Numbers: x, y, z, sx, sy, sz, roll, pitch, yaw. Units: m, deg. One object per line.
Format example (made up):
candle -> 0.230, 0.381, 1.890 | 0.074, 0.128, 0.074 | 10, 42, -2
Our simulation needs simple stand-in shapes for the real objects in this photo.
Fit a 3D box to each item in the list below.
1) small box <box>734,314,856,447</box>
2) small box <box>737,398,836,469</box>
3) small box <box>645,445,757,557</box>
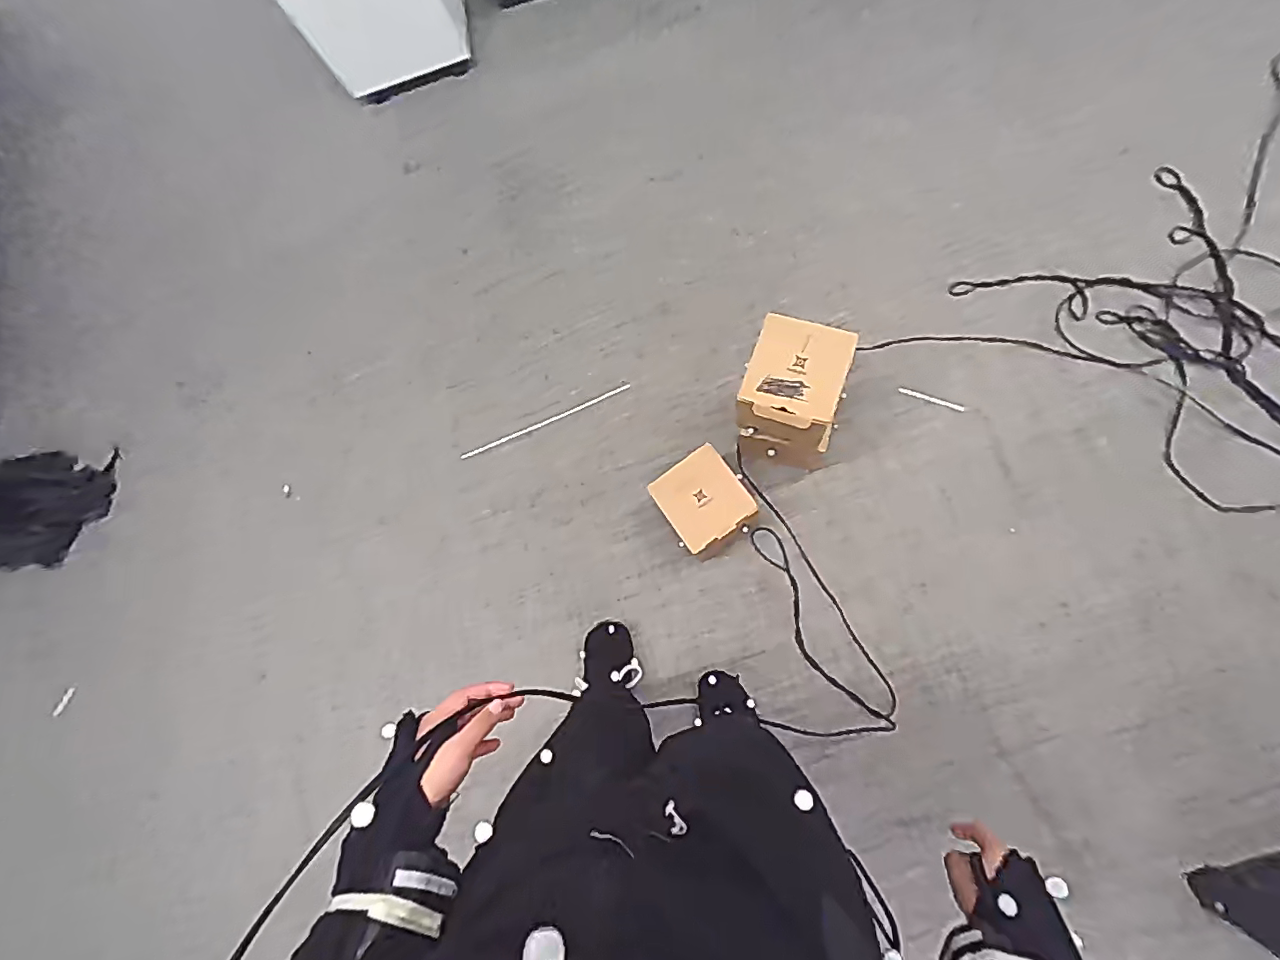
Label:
small box -> 0.286, -0.179, 1.019 | 0.168, 0.176, 0.179 | 19, 81, 14
small box -> 0.318, -0.132, 1.175 | 0.179, 0.176, 0.168 | 13, 80, 14
small box -> 0.138, 0.055, 1.173 | 0.168, 0.176, 0.179 | -37, 73, 1
